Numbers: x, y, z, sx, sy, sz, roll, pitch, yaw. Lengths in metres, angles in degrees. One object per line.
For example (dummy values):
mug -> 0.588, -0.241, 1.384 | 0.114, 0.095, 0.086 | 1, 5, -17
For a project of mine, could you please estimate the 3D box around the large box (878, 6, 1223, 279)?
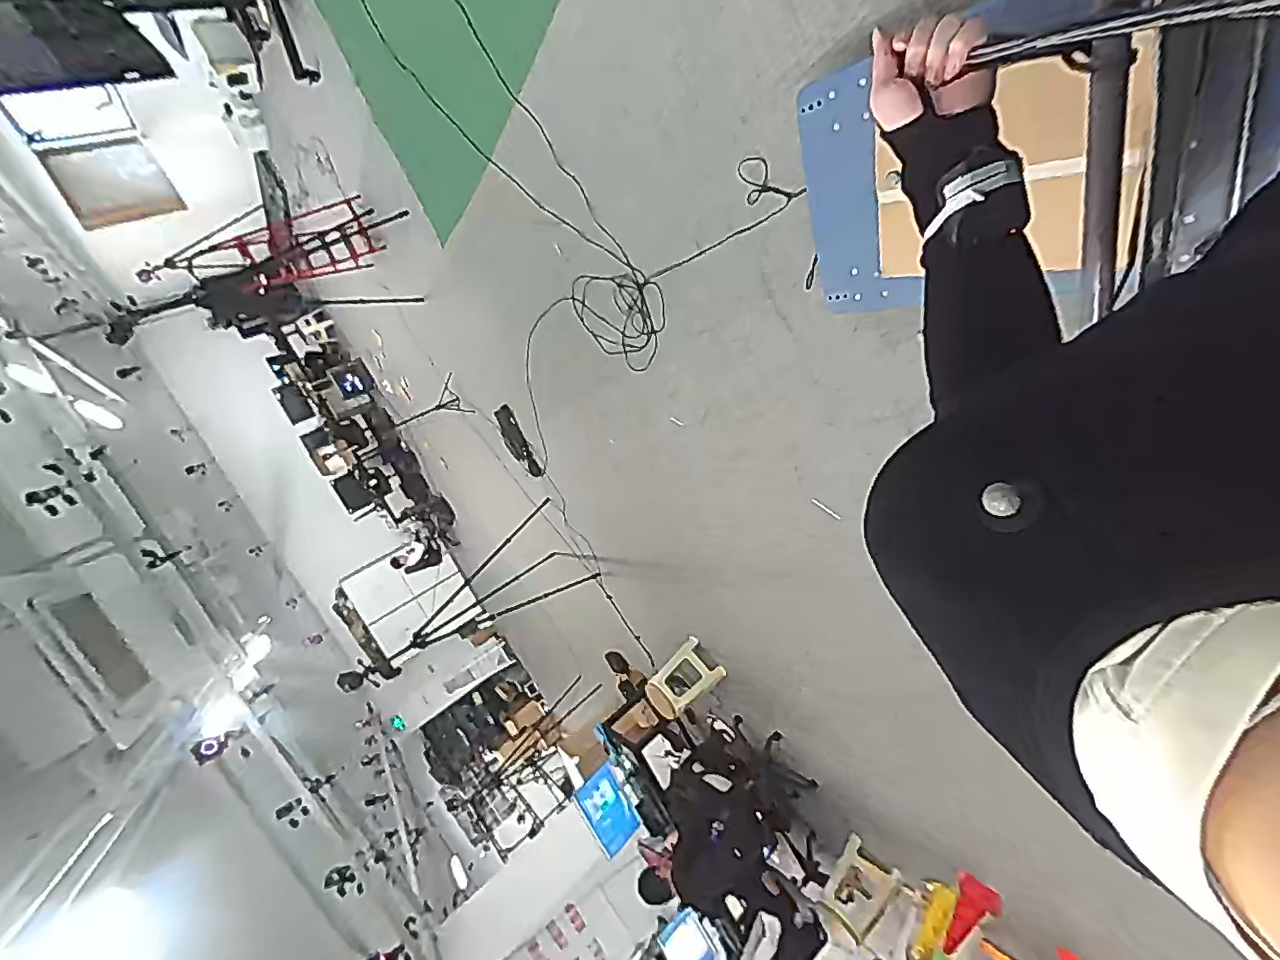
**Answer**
large box -> 0.708, -0.576, 0.979 | 0.408, 0.320, 0.320 | 21, 135, 48
